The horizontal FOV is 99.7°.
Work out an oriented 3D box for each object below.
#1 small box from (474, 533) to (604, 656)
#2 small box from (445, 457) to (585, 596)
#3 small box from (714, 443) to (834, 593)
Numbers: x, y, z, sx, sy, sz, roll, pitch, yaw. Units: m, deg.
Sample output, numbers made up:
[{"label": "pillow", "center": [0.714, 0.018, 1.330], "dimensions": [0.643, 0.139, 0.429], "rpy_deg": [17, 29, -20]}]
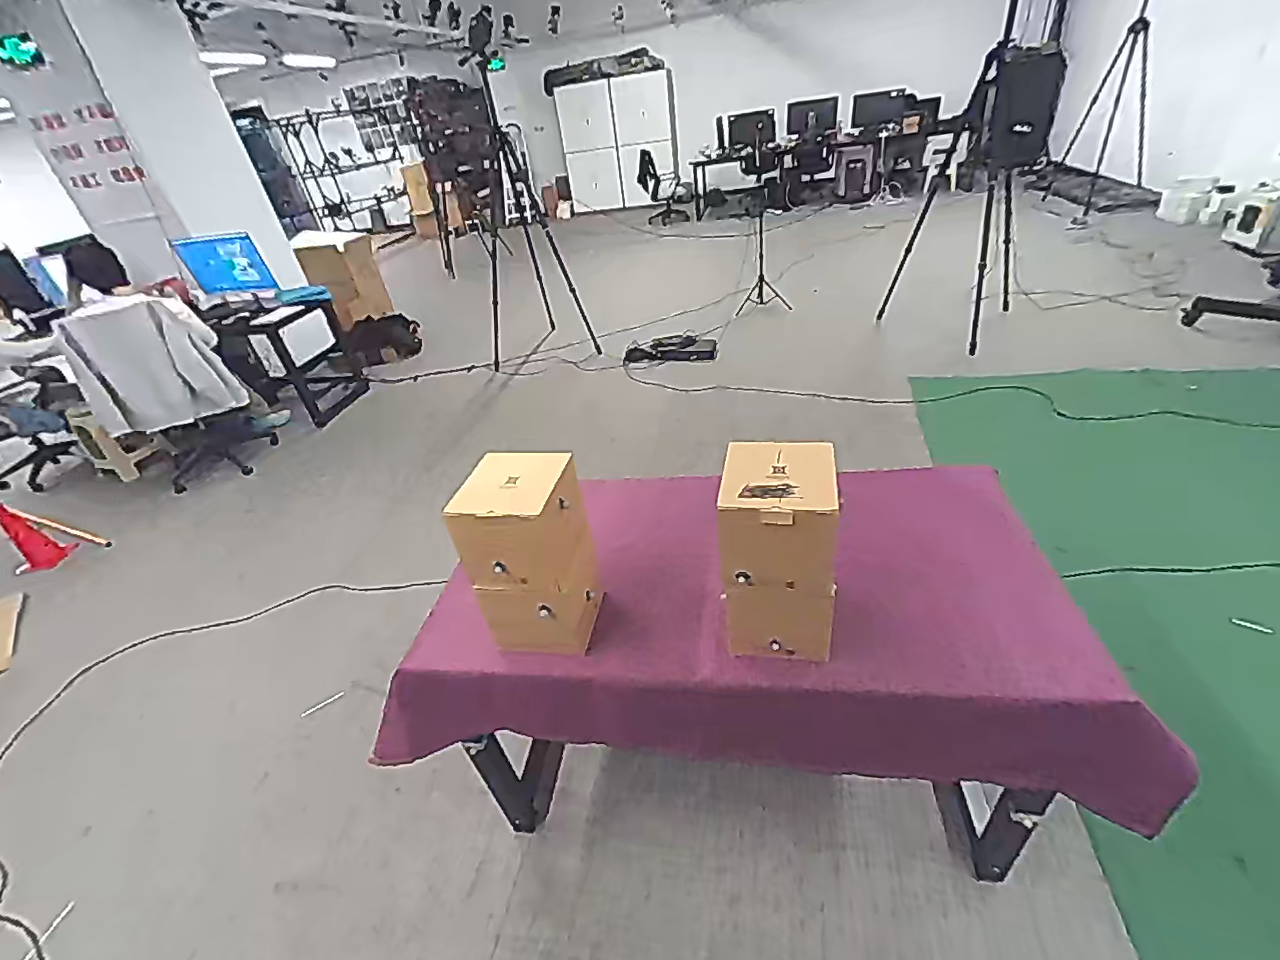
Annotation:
[{"label": "small box", "center": [-0.177, 0.214, 1.021], "dimensions": [0.179, 0.176, 0.168], "rpy_deg": [-1, 35, 14]}, {"label": "small box", "center": [-0.202, 0.076, 0.937], "dimensions": [0.168, 0.176, 0.179], "rpy_deg": [0, 36, 14]}, {"label": "small box", "center": [0.215, 0.058, 0.851], "dimensions": [0.168, 0.176, 0.179], "rpy_deg": [1, 35, 16]}]
